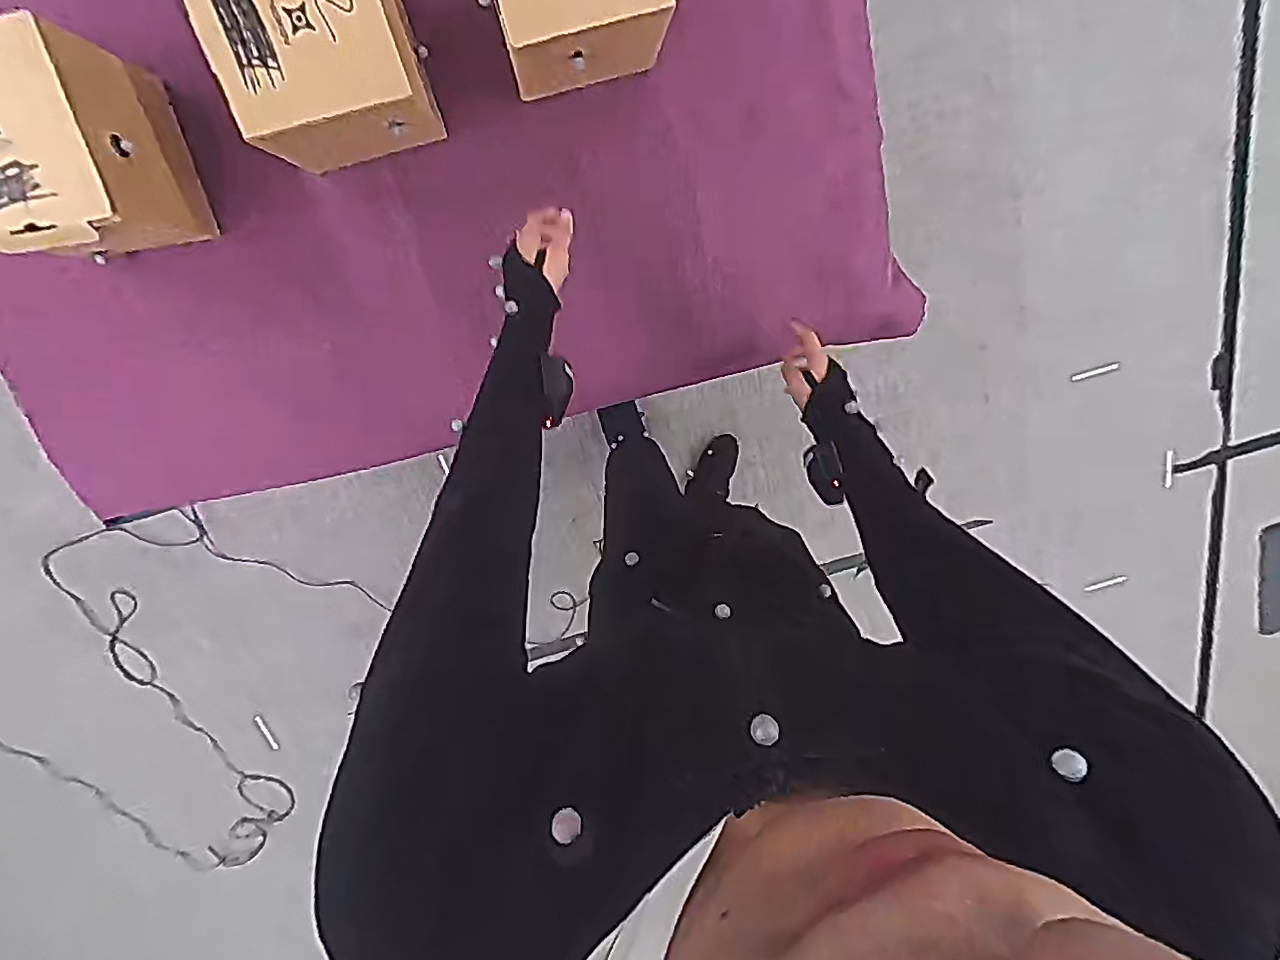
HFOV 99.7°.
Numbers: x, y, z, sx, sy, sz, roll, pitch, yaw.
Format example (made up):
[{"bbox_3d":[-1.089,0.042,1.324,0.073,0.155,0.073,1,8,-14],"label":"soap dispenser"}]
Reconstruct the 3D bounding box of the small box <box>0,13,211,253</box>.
[{"bbox_3d":[-0.621,-0.349,0.582,0.168,0.176,0.179,-11,109,-4],"label":"small box"}]
